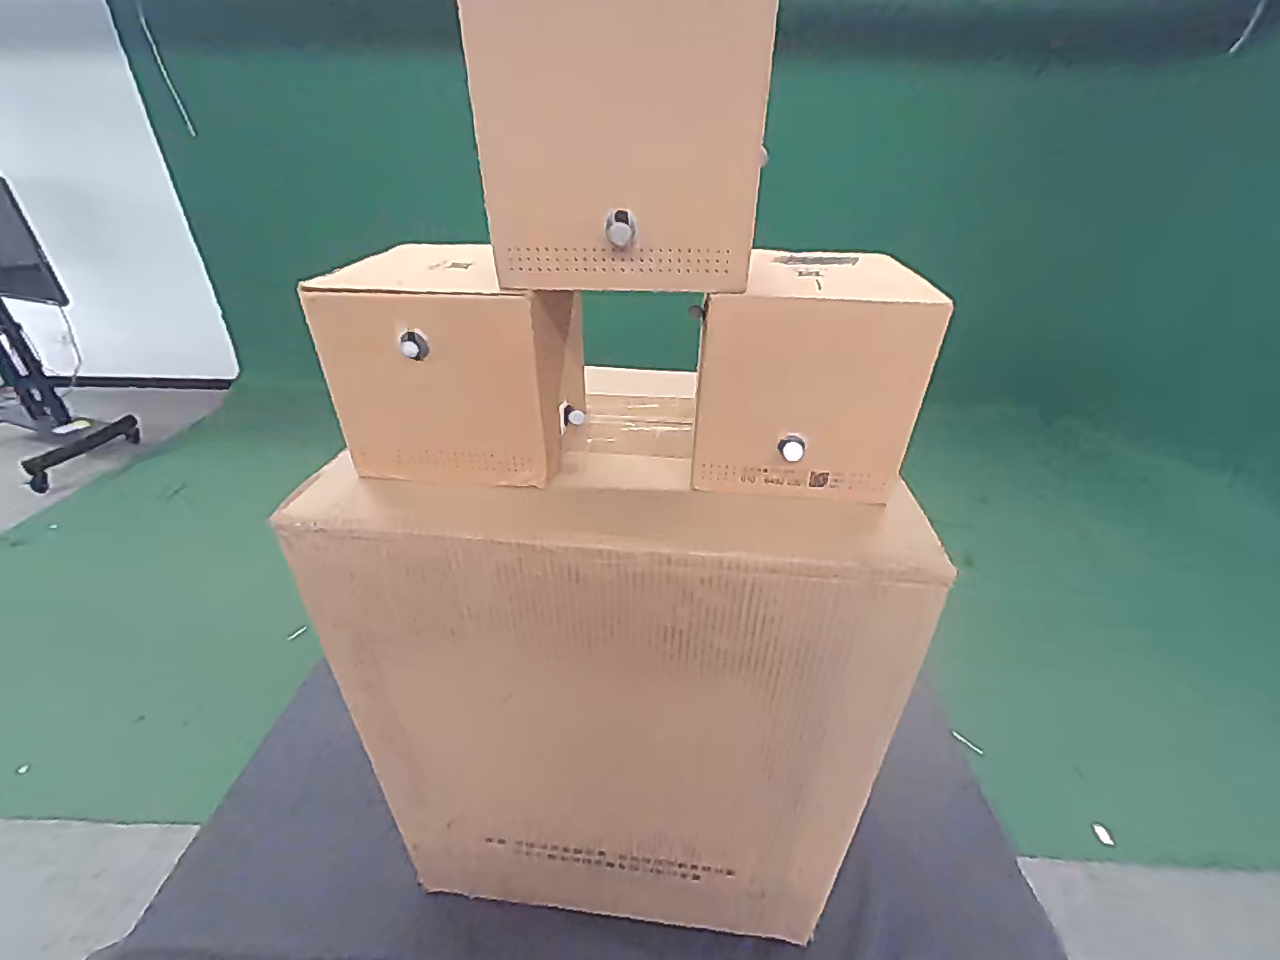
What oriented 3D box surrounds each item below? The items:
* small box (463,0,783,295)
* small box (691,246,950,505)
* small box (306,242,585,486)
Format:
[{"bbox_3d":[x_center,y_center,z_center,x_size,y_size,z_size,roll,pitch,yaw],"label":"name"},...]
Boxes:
[{"bbox_3d":[-0.009,-0.241,0.397,0.179,0.176,0.168,2,34,1],"label":"small box"},{"bbox_3d":[0.135,-0.100,0.483,0.168,0.176,0.179,4,35,4],"label":"small box"},{"bbox_3d":[-0.151,-0.109,0.493,0.179,0.176,0.168,5,35,4],"label":"small box"}]
